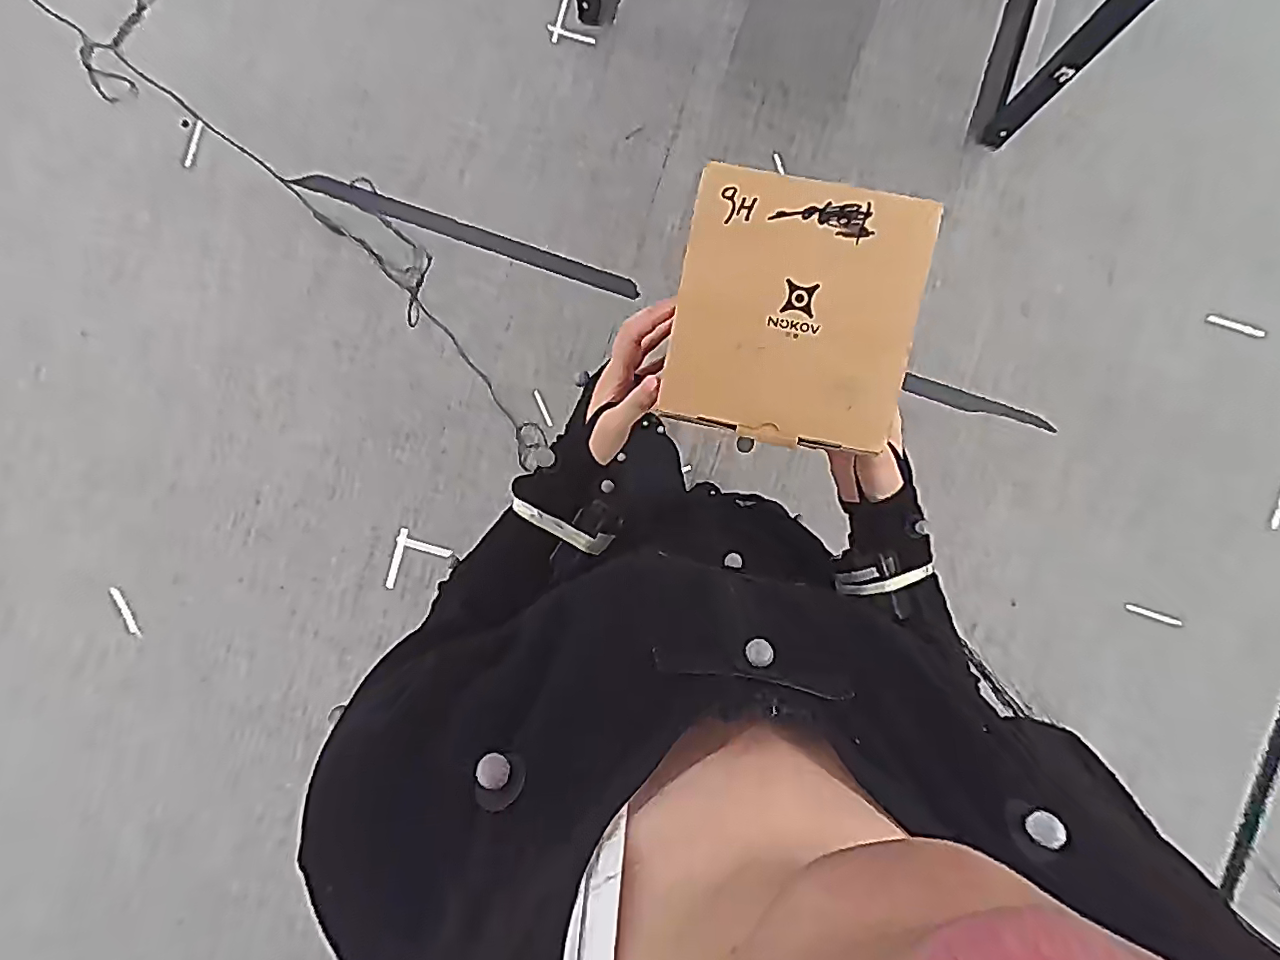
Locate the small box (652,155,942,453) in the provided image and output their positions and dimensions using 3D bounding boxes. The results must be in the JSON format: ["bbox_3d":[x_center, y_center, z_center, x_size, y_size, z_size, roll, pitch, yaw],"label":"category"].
[{"bbox_3d":[0.110,-0.129,0.450,0.168,0.176,0.179,11,97,1],"label":"small box"}]
